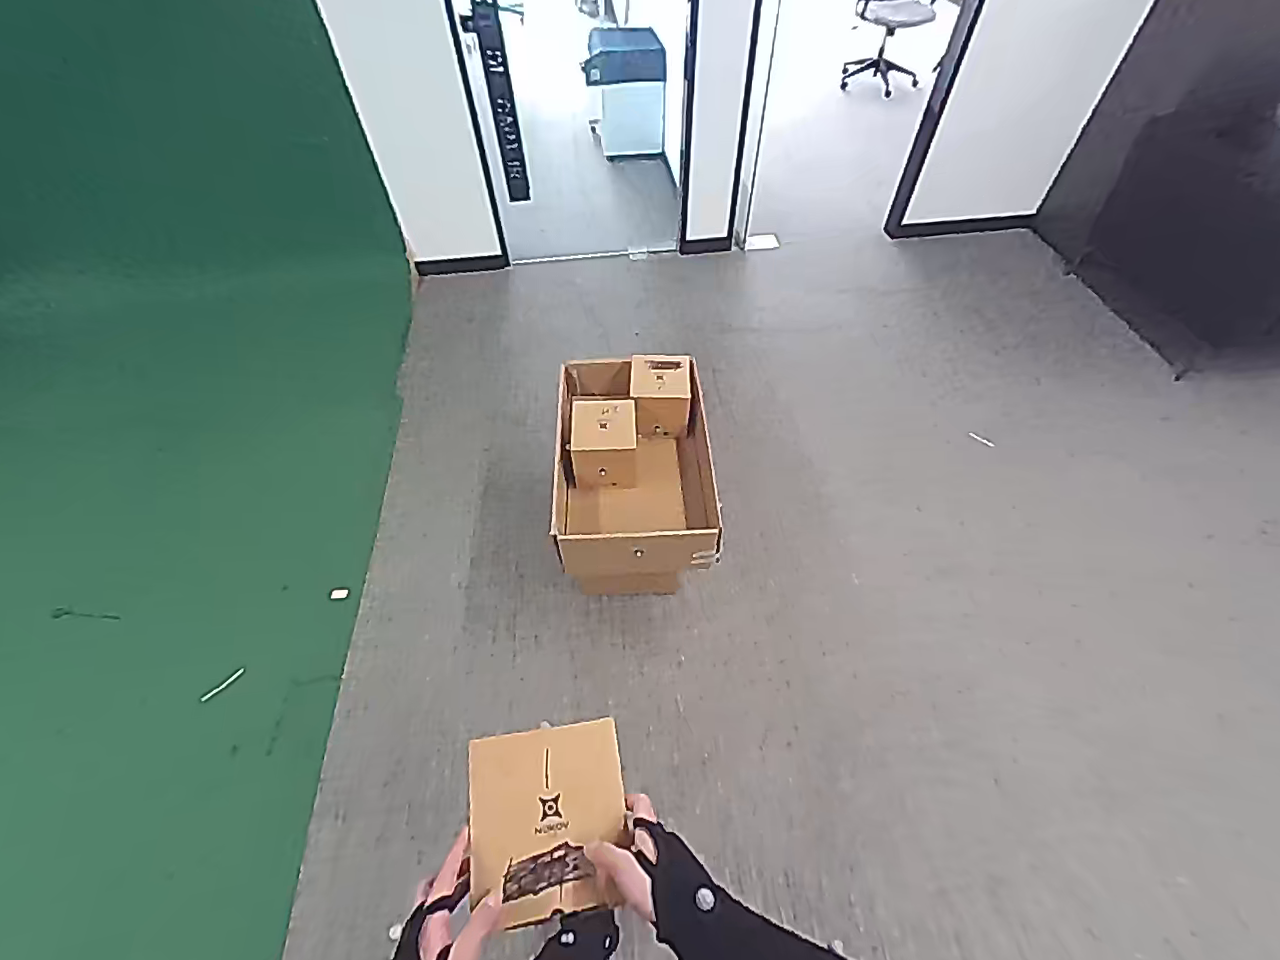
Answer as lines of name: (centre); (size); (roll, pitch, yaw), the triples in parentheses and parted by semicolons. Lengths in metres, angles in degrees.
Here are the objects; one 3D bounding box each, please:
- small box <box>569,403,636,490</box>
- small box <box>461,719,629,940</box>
small box: (-0.095, -0.085, 1.445); (0.168, 0.176, 0.179); (-1, 52, -1)
small box: (-0.115, 0.394, 0.633); (0.168, 0.176, 0.179); (-3, 60, -14)
